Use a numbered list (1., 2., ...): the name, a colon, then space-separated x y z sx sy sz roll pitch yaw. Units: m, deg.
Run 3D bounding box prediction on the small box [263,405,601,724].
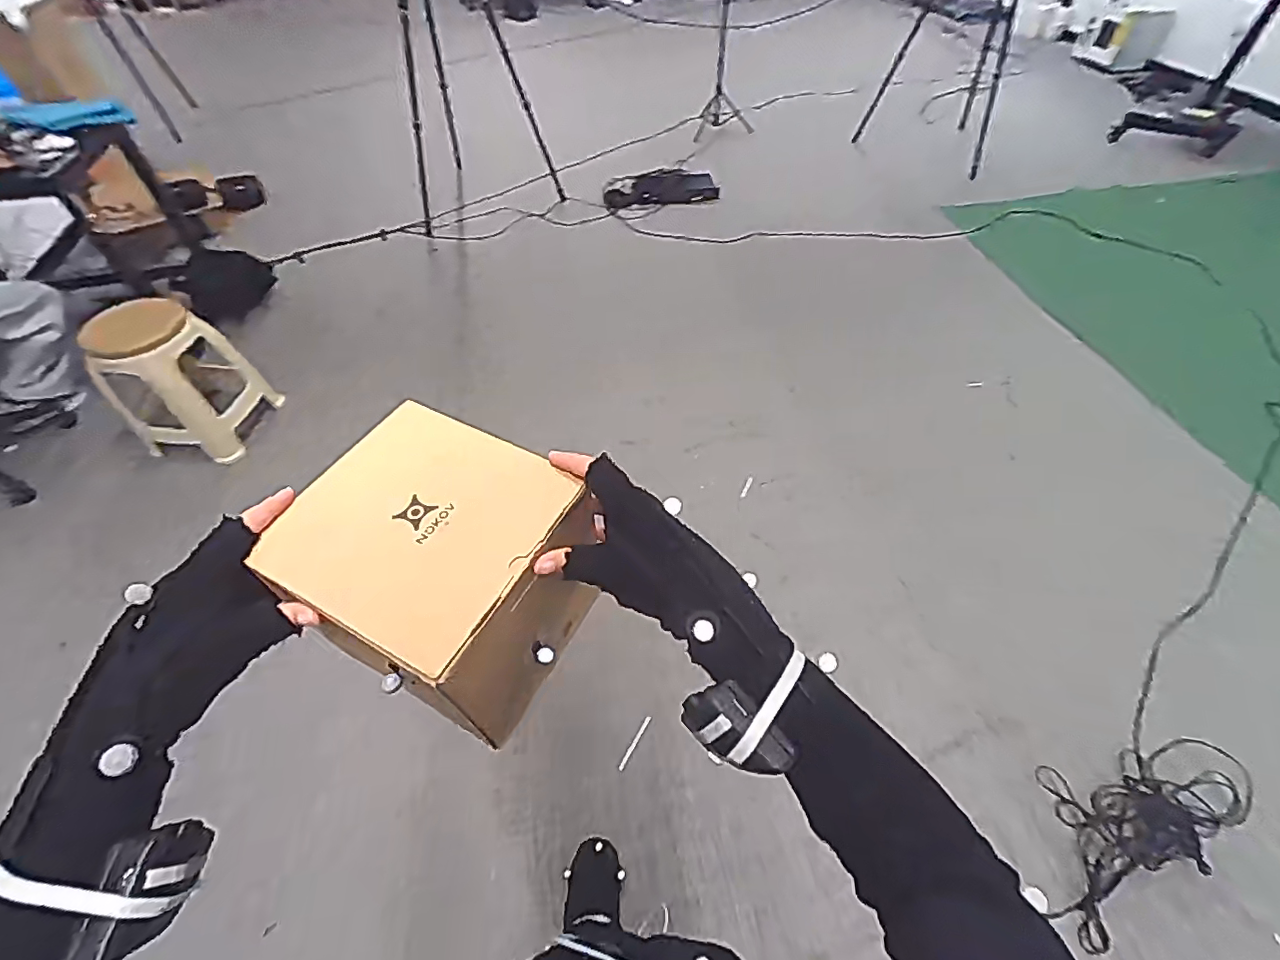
1. small box: -0.148 0.073 0.449 0.179 0.176 0.168 25 56 16
